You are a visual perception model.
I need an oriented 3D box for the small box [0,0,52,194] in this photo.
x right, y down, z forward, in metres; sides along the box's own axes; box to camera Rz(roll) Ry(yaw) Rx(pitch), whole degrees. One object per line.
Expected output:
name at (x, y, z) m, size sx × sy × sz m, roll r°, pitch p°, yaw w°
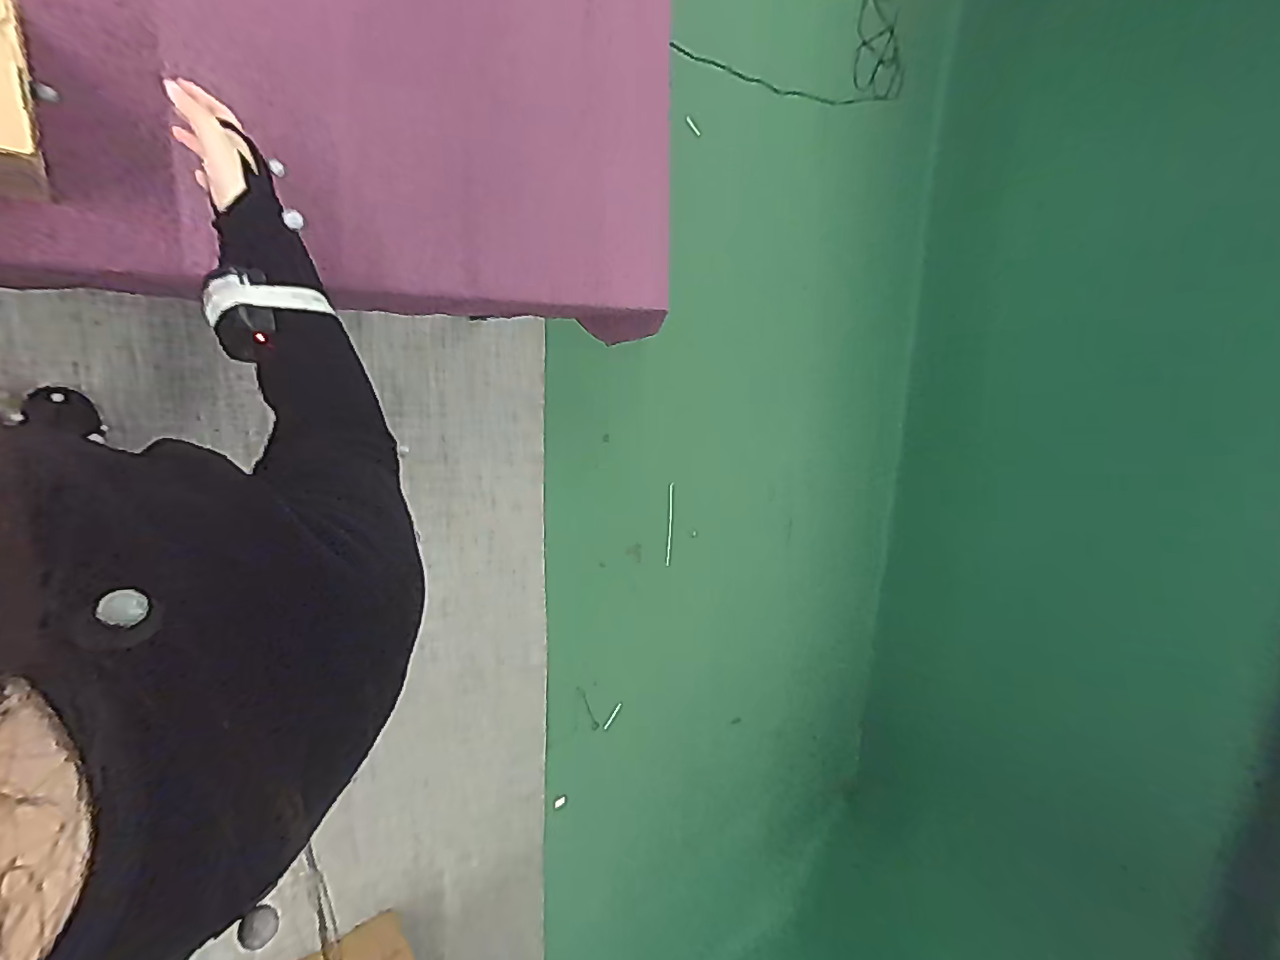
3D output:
small box at (-0.565, -0.324, 0.385) m, size 0.179 × 0.176 × 0.168 m, roll -9°, pitch 106°, yaw -43°
